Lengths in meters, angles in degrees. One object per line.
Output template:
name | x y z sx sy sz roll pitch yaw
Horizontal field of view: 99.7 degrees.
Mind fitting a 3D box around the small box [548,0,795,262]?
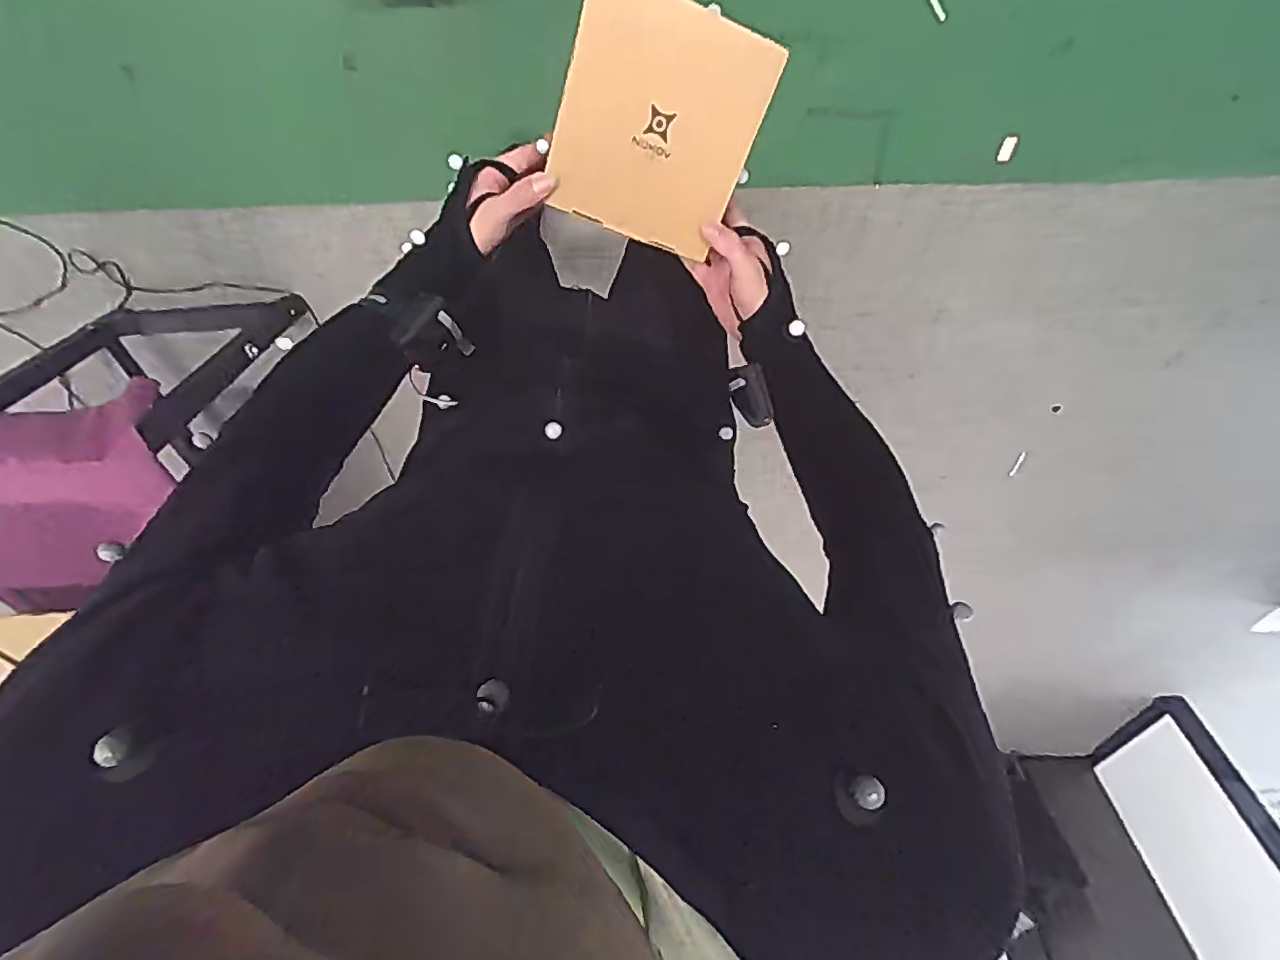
small box | 0.016 -0.344 0.520 0.168 0.176 0.179 14 125 -14
